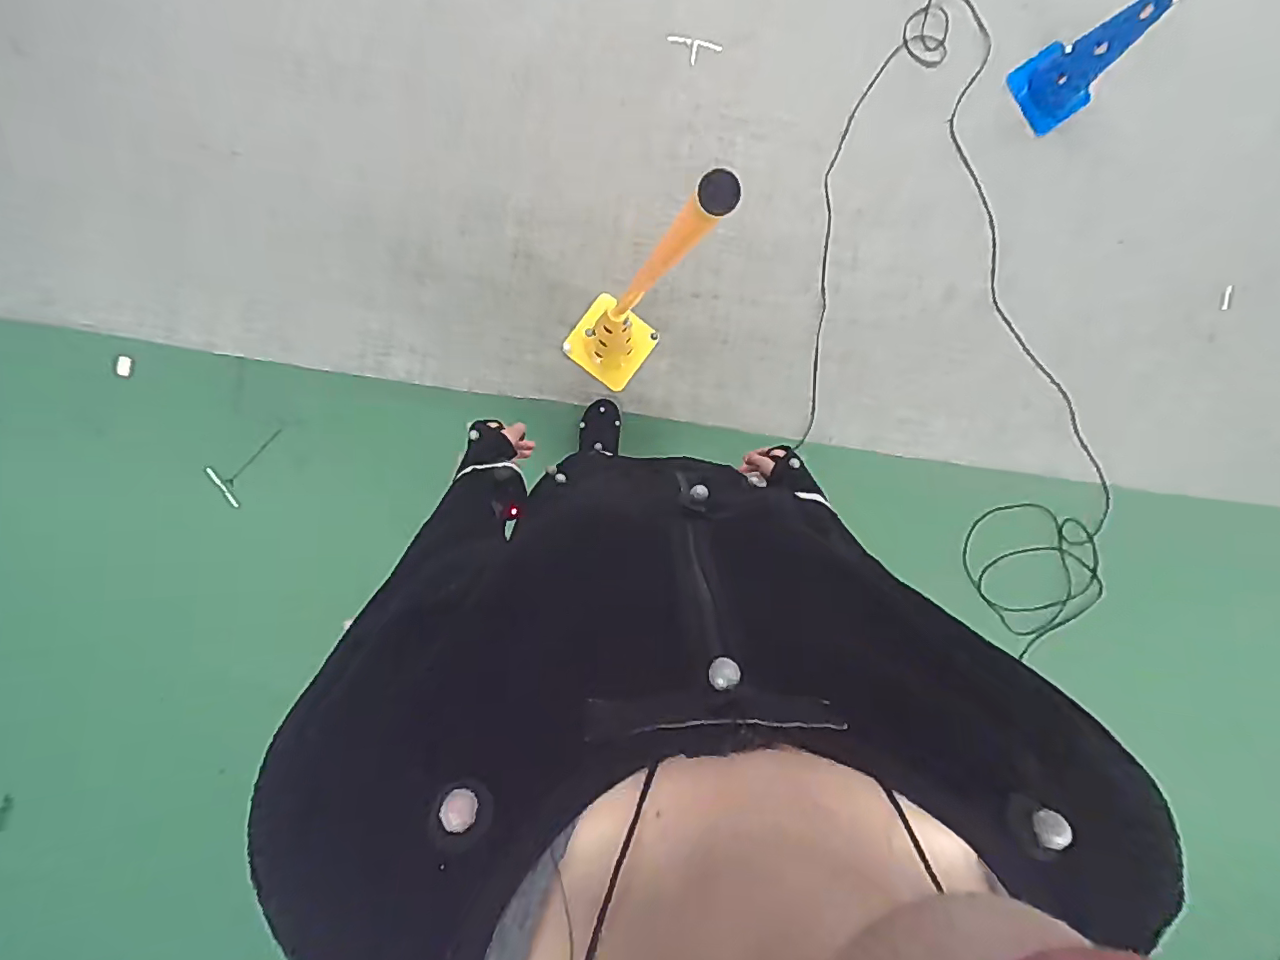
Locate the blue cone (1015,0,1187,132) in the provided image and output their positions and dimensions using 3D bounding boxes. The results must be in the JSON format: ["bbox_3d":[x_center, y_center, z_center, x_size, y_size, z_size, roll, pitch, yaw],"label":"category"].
[{"bbox_3d":[1.176,-1.094,1.352,0.193,0.380,0.192,-38,96,-4],"label":"blue cone"}]
